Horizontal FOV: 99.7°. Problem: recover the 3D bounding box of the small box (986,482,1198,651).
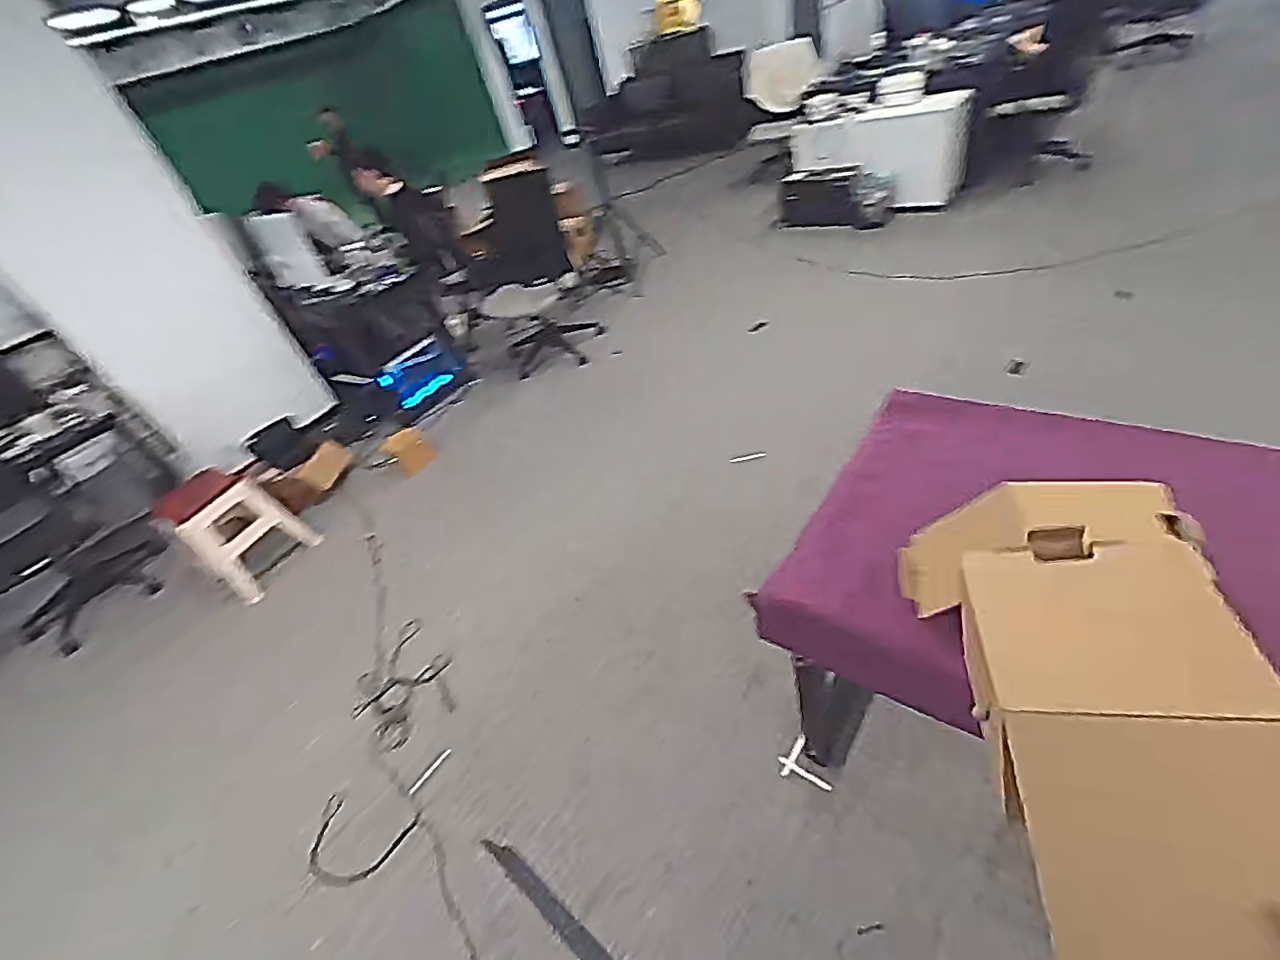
[{"bbox_3d":[0.600,0.119,0.752,0.179,0.176,0.168,0,44,21],"label":"small box"}]
